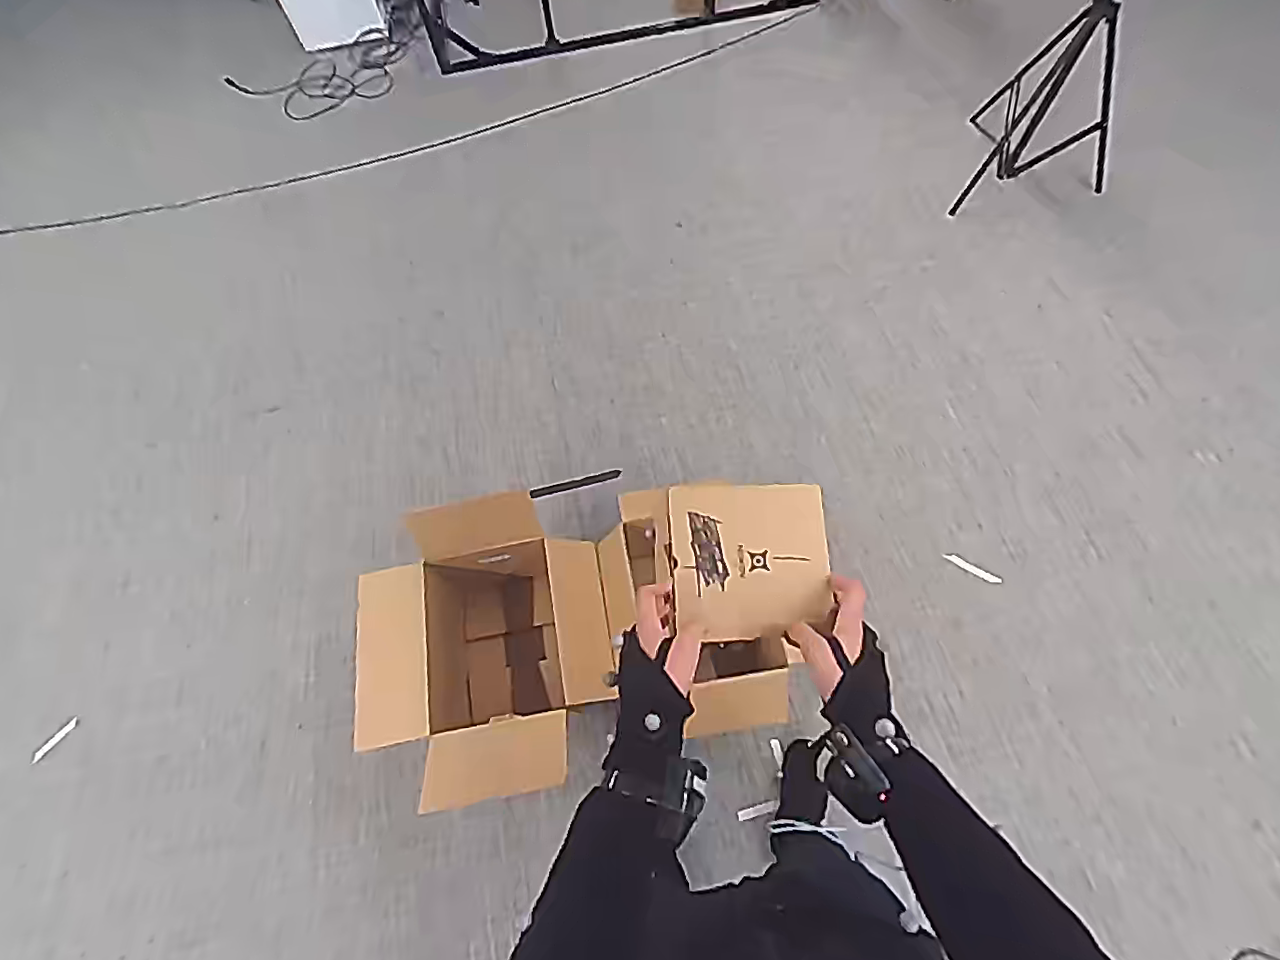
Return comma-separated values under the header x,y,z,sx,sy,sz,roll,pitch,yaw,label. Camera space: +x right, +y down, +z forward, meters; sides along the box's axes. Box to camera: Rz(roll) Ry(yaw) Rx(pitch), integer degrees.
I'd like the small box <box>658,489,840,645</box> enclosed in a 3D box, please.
x,y,z,sx,sy,sz,roll,pitch,yaw,label
0.114,0.108,0.648,0.179,0.176,0.168,-1,77,-5,small box
